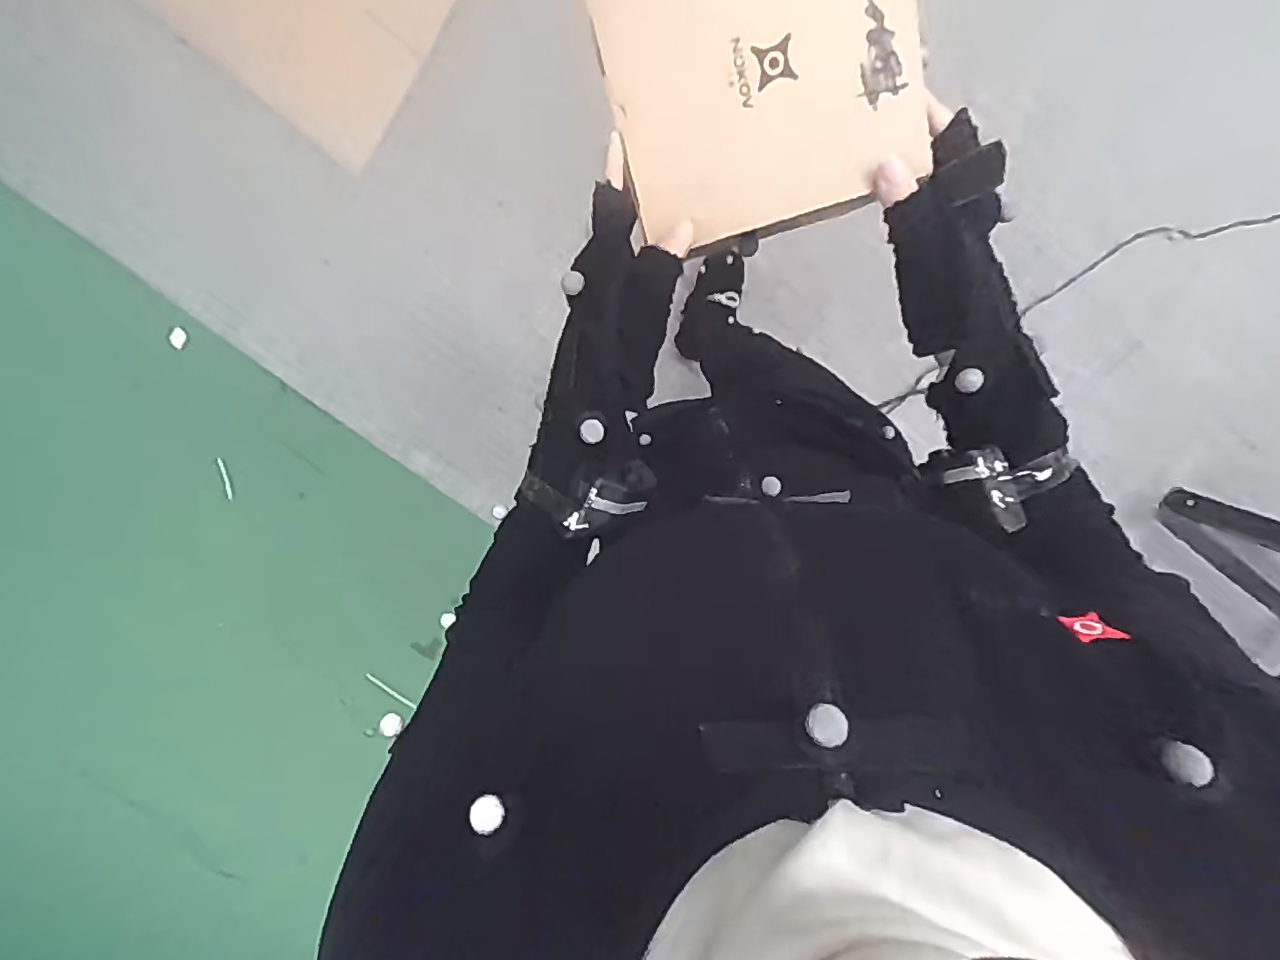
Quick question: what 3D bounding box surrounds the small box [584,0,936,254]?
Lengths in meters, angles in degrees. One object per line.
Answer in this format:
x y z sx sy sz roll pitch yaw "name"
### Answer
0.073 -0.275 0.383 0.179 0.176 0.168 -16 105 9 "small box"
